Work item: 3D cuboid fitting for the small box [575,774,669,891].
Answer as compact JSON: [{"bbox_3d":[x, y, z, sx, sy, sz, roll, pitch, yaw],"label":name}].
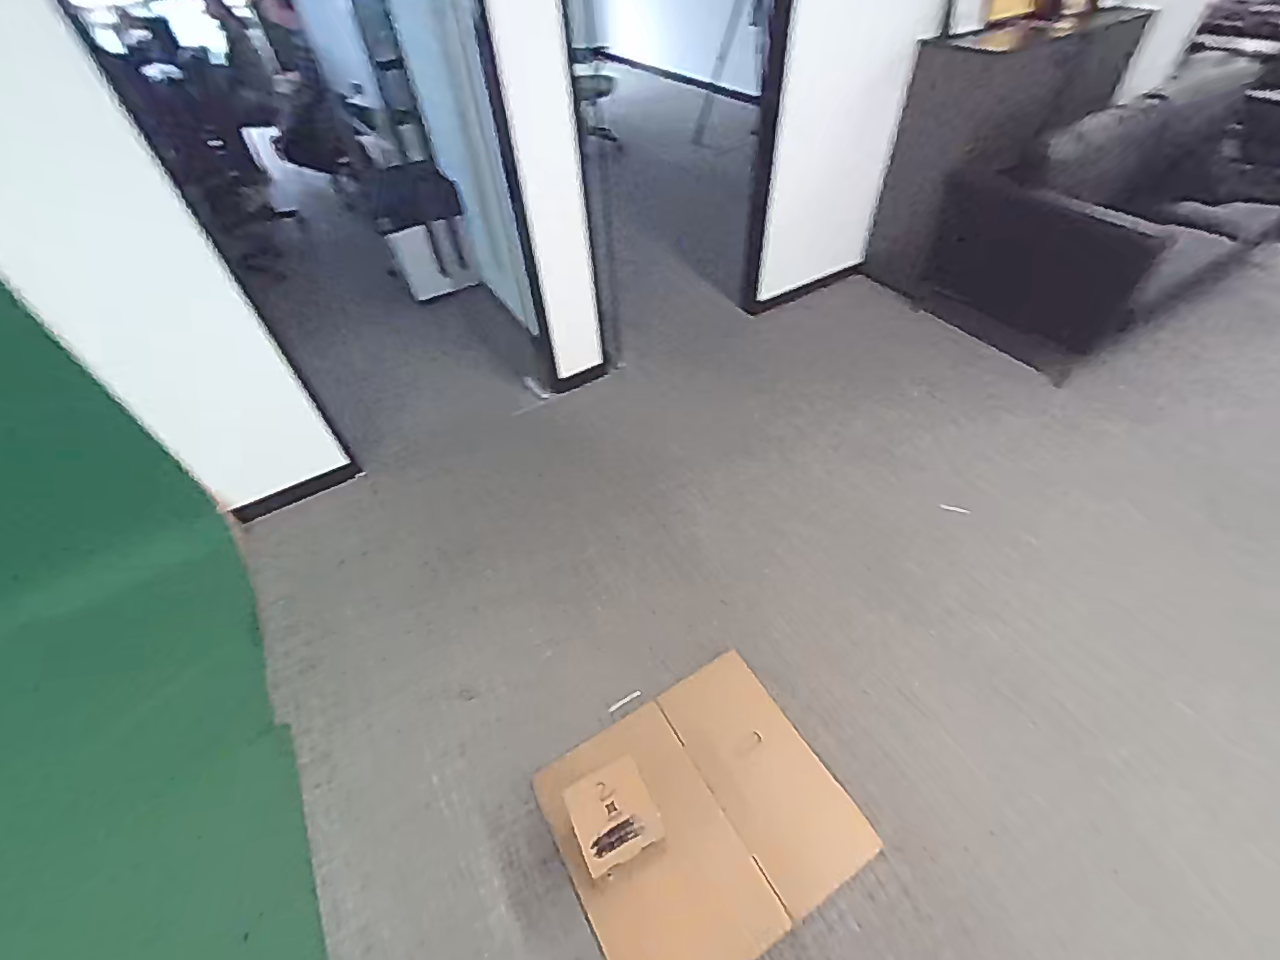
[{"bbox_3d":[-0.038,0.855,1.305,0.179,0.176,0.168,-22,50,-16],"label":"small box"}]
